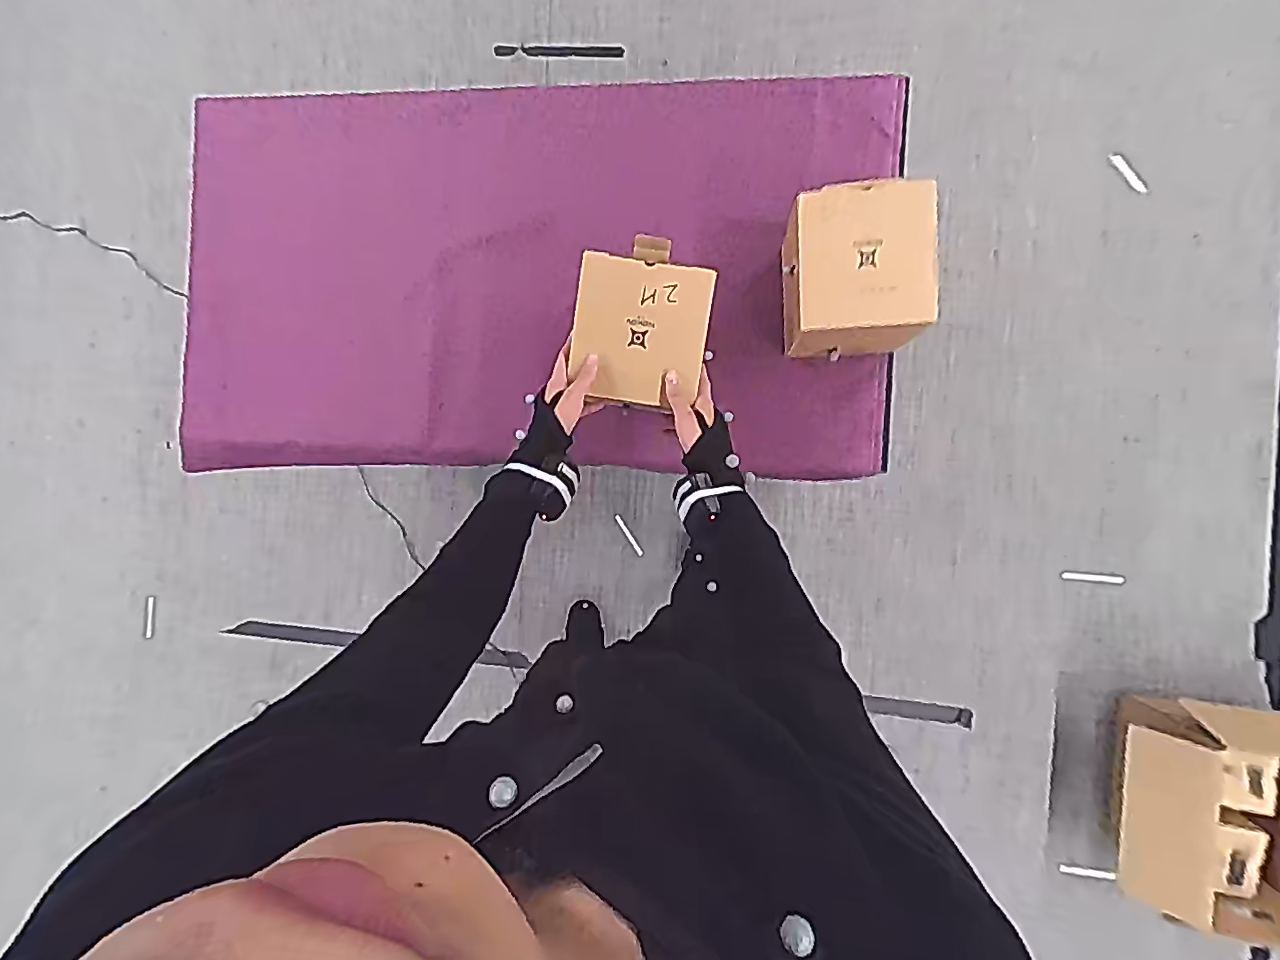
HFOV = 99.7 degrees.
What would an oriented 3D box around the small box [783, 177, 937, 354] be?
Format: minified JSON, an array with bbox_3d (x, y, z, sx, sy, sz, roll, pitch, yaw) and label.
[{"bbox_3d":[0.292,-0.283,0.750,0.168,0.176,0.179,-1,90,9],"label":"small box"}]

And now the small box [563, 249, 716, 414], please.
[{"bbox_3d":[-0.001,-0.188,0.740,0.168,0.176,0.179,9,95,-2],"label":"small box"}]
